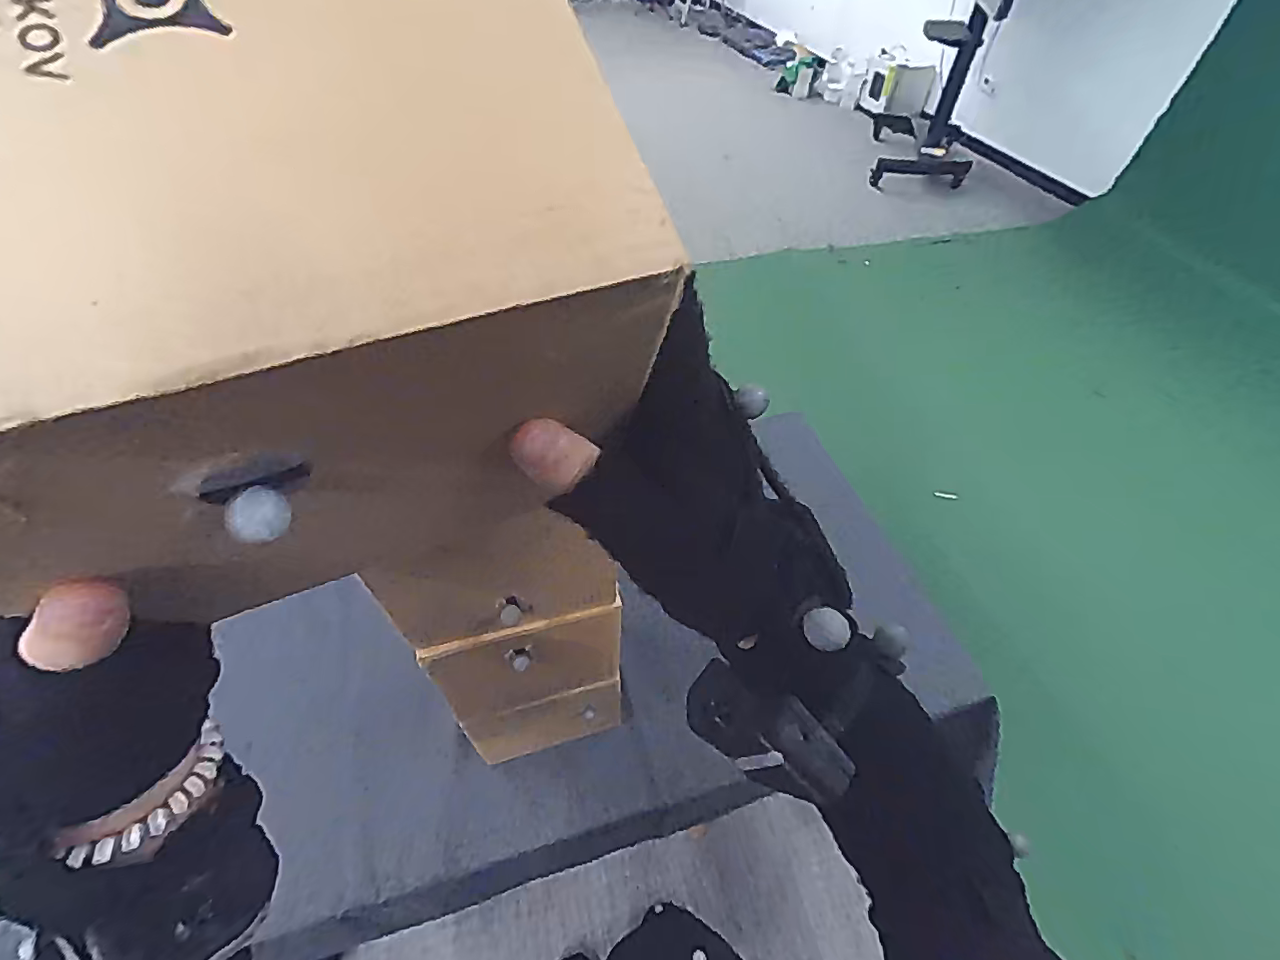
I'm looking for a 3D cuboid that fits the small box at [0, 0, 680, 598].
[{"bbox_3d":[-0.110,-0.068,0.186,0.179,0.176,0.168,-19,78,-15],"label":"small box"}]

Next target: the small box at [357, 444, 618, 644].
[{"bbox_3d":[-0.122,0.013,0.451,0.179,0.176,0.168,-10,50,-11],"label":"small box"}]

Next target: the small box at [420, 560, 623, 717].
[{"bbox_3d":[-0.123,0.124,0.572,0.179,0.176,0.168,-12,51,-12],"label":"small box"}]
